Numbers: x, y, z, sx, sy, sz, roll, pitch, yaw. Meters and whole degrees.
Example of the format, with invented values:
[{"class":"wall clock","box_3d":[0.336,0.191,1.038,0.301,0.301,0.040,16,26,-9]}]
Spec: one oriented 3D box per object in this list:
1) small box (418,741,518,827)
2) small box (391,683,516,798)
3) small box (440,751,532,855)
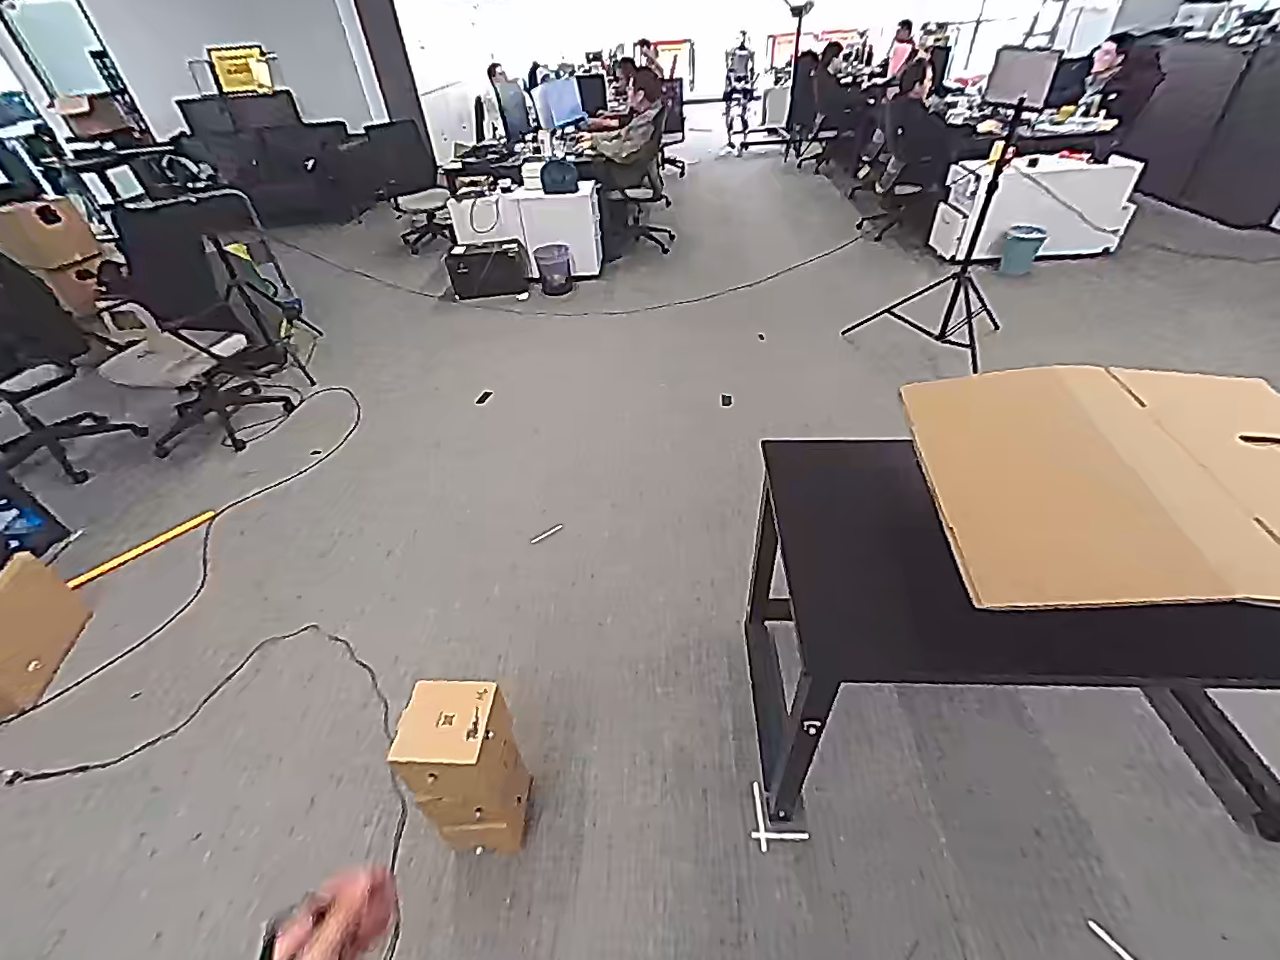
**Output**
[{"class":"small box","box_3d":[-0.380,0.665,1.229,0.168,0.176,0.179,-5,39,-2]},{"class":"small box","box_3d":[-0.375,0.541,1.121,0.179,0.176,0.168,-1,40,5]},{"class":"small box","box_3d":[-0.368,0.792,1.328,0.168,0.176,0.179,-3,41,2]}]
